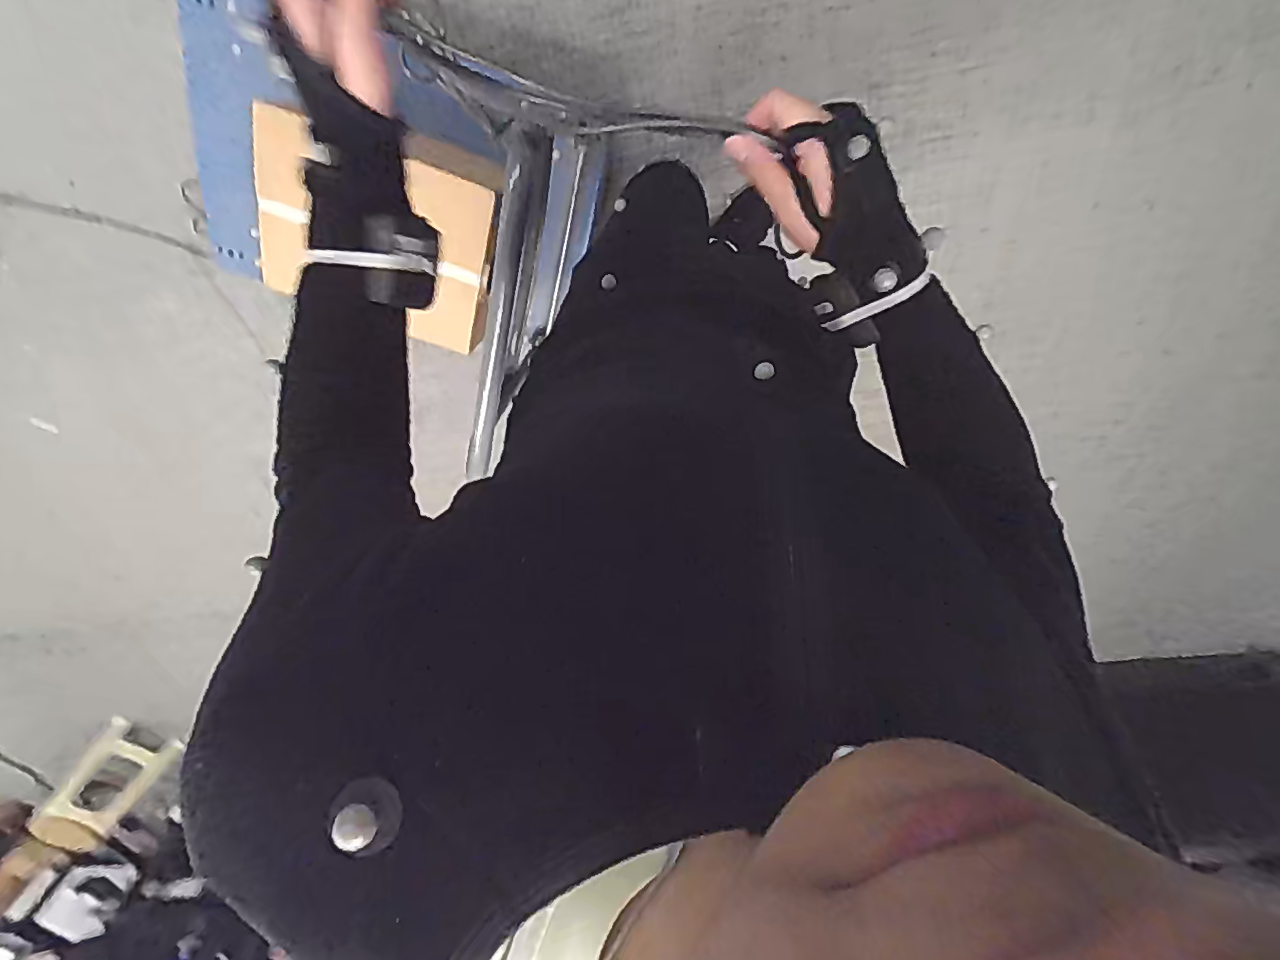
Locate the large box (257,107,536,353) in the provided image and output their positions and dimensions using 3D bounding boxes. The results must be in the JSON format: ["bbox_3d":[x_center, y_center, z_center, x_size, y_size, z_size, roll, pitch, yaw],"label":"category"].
[{"bbox_3d":[-0.461,-0.509,1.094,0.408,0.320,0.320,18,123,-7],"label":"large box"}]
